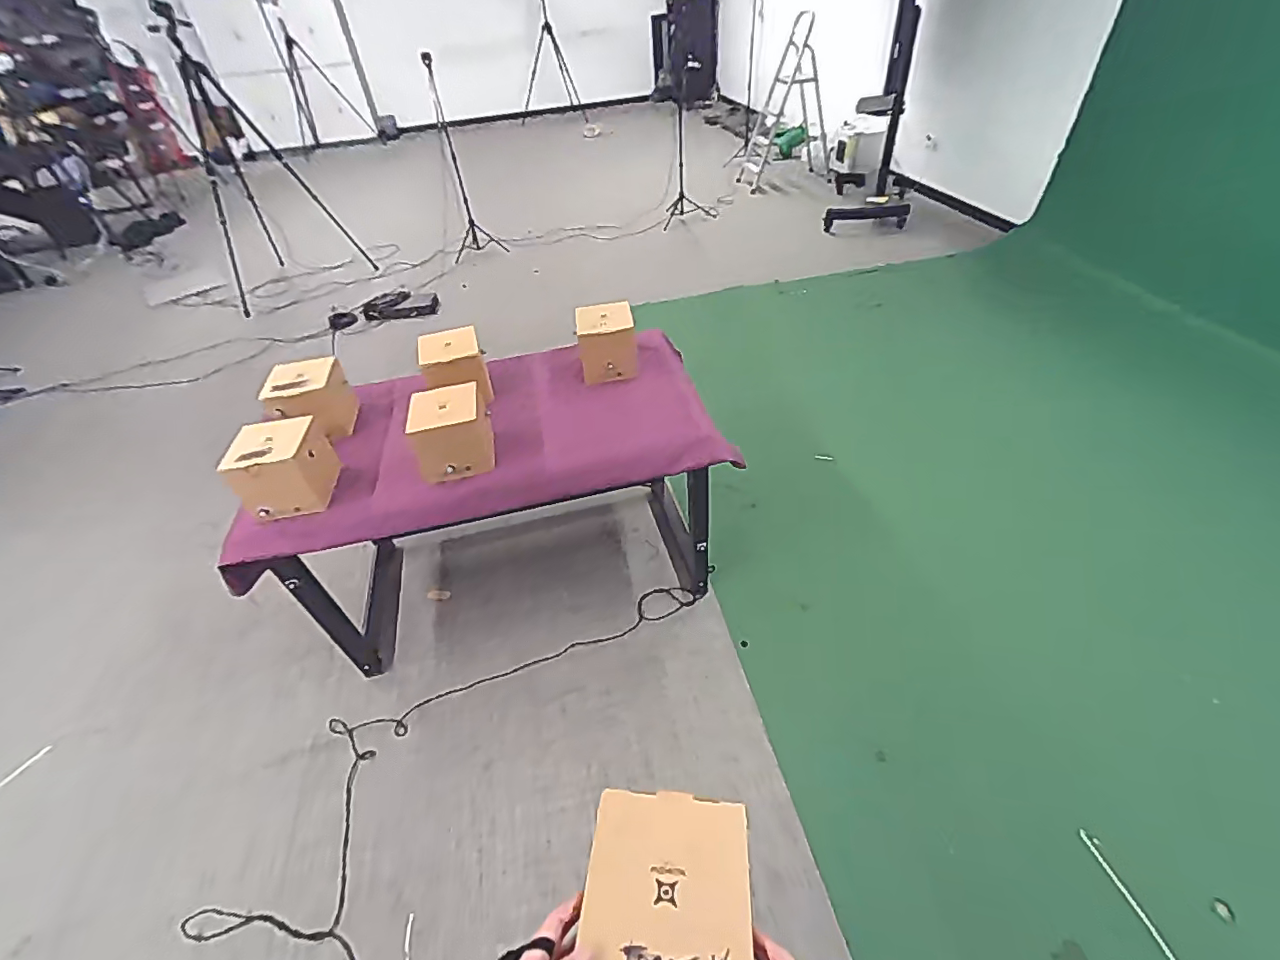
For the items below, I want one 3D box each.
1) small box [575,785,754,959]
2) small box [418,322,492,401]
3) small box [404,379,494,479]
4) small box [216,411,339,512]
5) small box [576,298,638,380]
[{"bbox_3d":[0.030,0.471,0.588,0.168,0.176,0.179,3,33,6],"label":"small box"},{"bbox_3d":[-0.541,-0.335,1.586,0.168,0.176,0.179,-15,46,-10],"label":"small box"},{"bbox_3d":[-0.472,-0.129,1.362,0.168,0.176,0.179,-12,43,-6],"label":"small box"},{"bbox_3d":[-0.857,-0.039,1.302,0.168,0.176,0.179,-10,42,-5],"label":"small box"},{"bbox_3d":[-0.100,-0.426,1.633,0.168,0.176,0.179,-8,44,-2],"label":"small box"}]
